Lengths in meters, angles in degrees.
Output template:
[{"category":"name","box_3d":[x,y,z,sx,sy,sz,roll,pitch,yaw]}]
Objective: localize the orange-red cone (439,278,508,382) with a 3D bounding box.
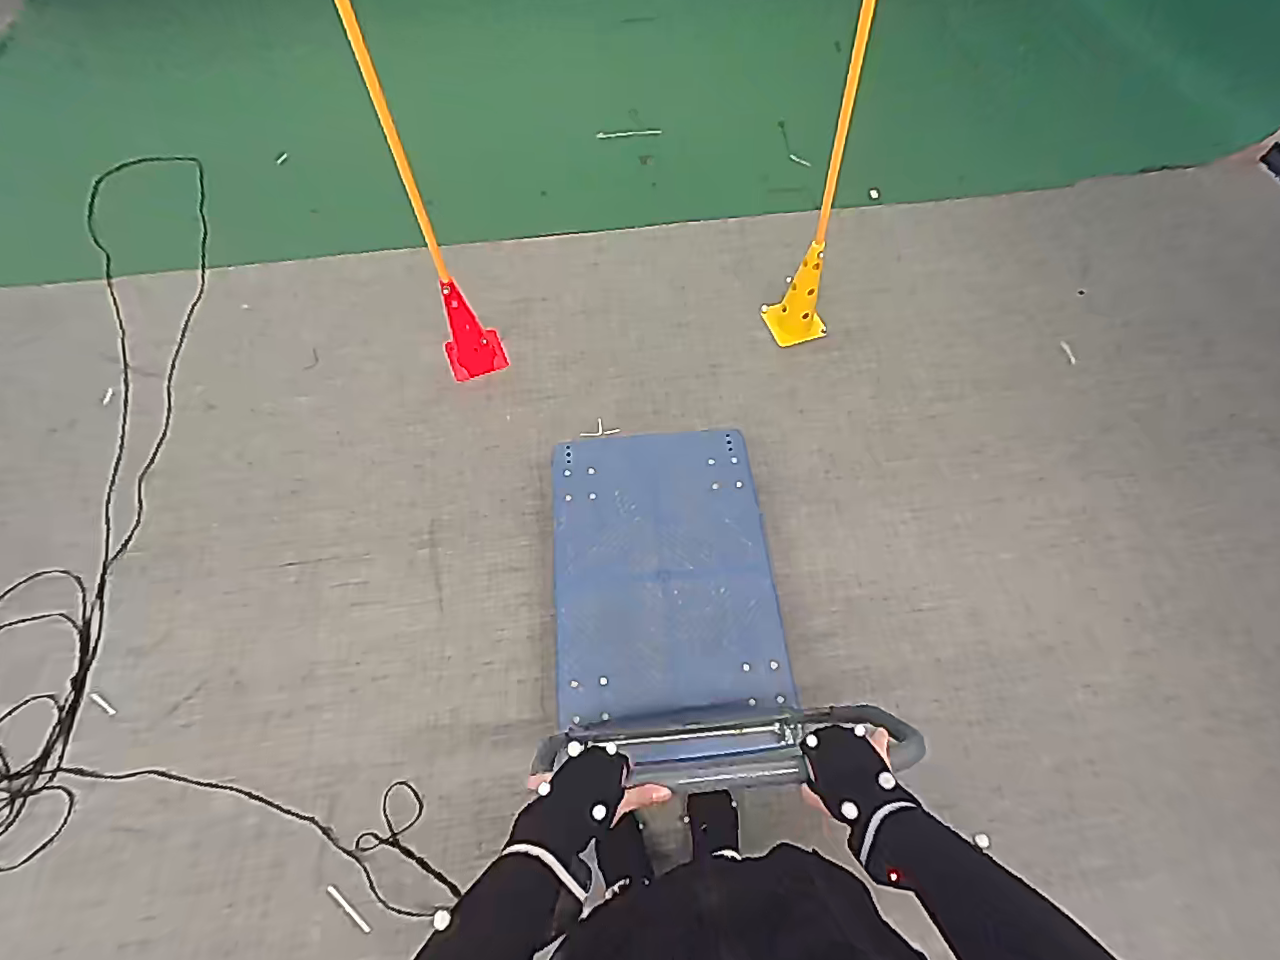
[{"category":"orange-red cone","box_3d":[-0.600,-0.530,1.825,0.199,0.360,0.198,-21,64,-8]}]
